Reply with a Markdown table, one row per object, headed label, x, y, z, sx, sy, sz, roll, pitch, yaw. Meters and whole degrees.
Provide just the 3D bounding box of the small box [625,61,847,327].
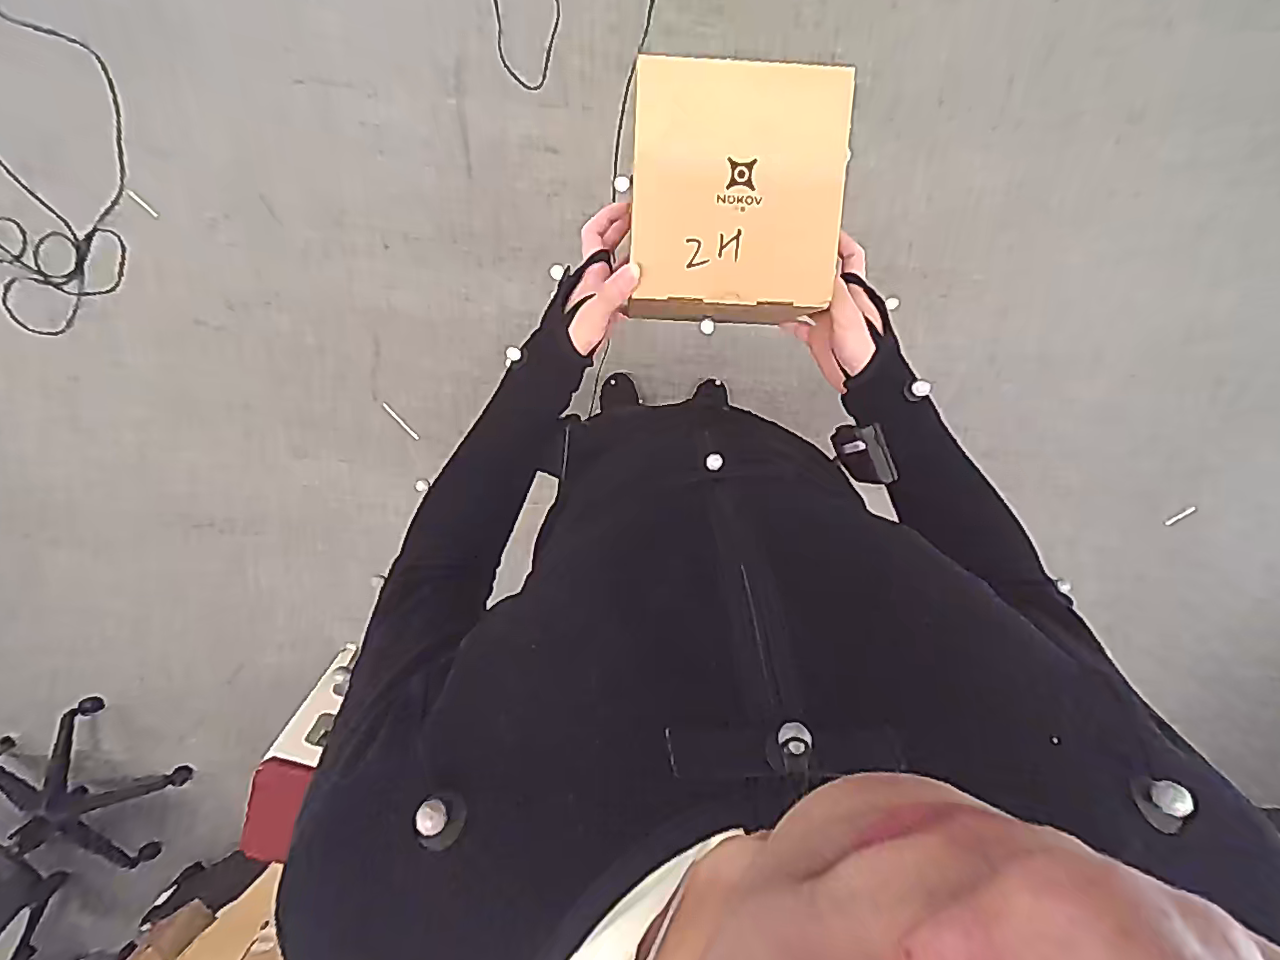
| label | x | y | z | sx | sy | sz | roll | pitch | yaw |
| --- | --- | --- | --- | --- | --- | --- | --- | --- | --- |
| small box | 0.073 | -0.245 | 0.509 | 0.168 | 0.176 | 0.179 | 3 | 102 | -2 |
